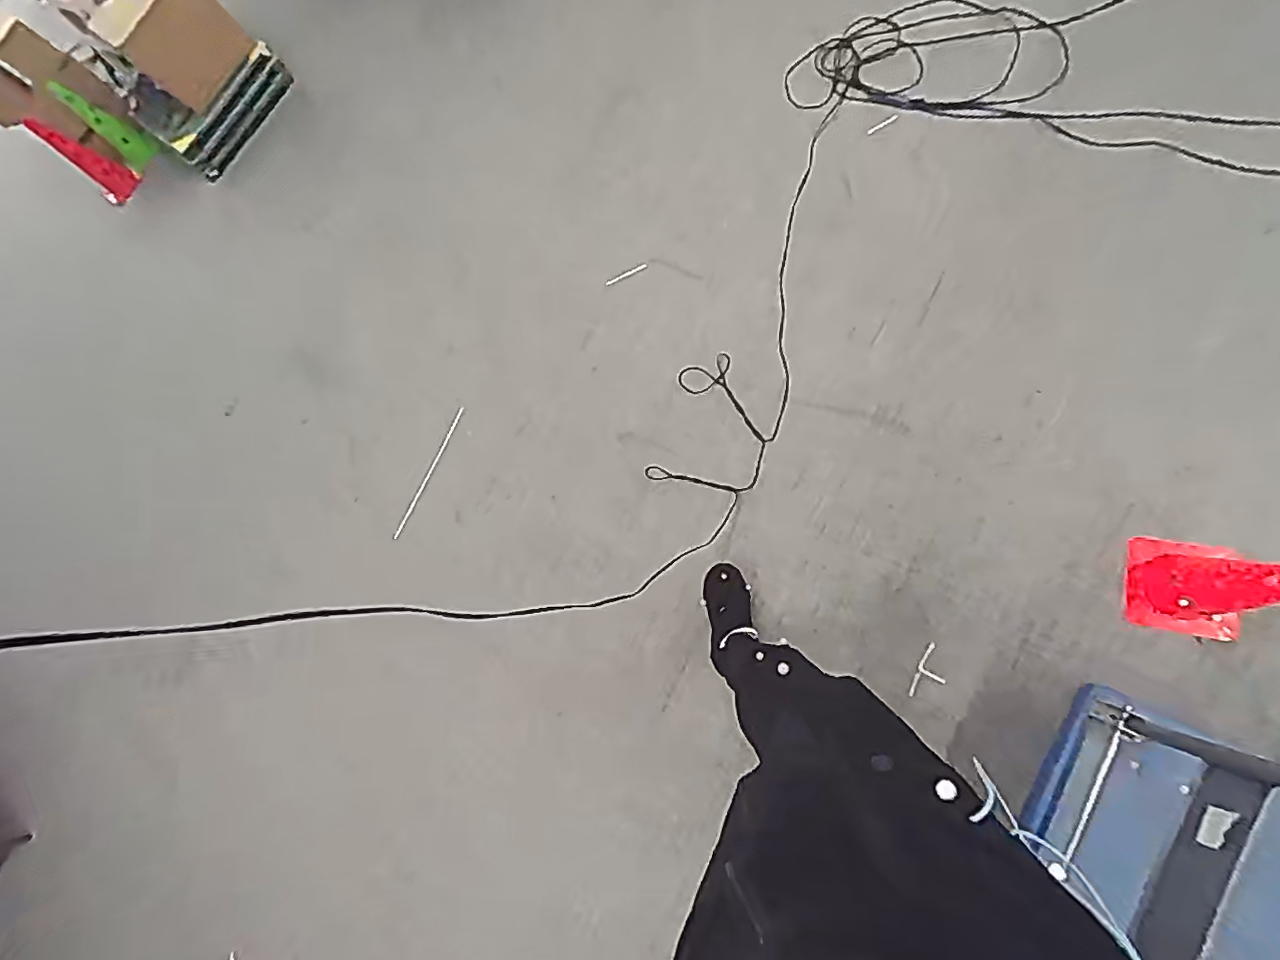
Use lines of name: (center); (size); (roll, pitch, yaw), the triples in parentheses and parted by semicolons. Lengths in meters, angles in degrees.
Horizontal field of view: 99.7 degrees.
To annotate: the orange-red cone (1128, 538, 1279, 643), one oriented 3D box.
orange-red cone: (1.145, 0.198, 1.019); (0.198, 0.360, 0.199); (10, 79, 17)
